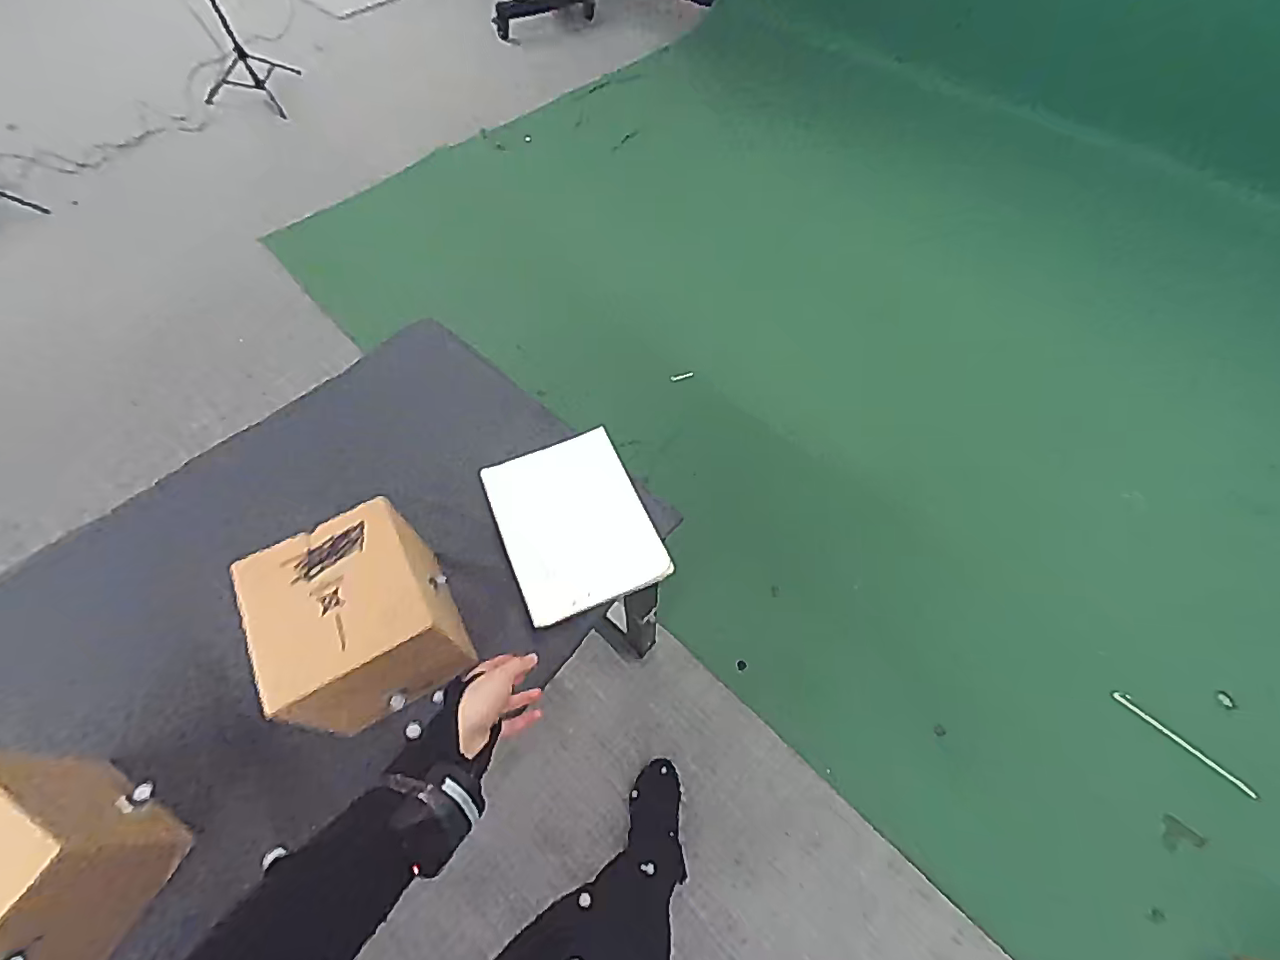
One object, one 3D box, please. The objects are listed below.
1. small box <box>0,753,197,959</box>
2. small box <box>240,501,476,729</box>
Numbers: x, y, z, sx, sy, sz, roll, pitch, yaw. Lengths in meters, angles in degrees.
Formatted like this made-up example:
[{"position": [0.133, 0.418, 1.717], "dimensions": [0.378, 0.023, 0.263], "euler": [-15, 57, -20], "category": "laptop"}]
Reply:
[{"position": [-0.587, 0.385, 0.505], "dimensions": [0.168, 0.176, 0.179], "euler": [24, 61, 13], "category": "small box"}, {"position": [-0.315, 0.162, 0.629], "dimensions": [0.168, 0.176, 0.179], "euler": [-28, 63, -14], "category": "small box"}]
